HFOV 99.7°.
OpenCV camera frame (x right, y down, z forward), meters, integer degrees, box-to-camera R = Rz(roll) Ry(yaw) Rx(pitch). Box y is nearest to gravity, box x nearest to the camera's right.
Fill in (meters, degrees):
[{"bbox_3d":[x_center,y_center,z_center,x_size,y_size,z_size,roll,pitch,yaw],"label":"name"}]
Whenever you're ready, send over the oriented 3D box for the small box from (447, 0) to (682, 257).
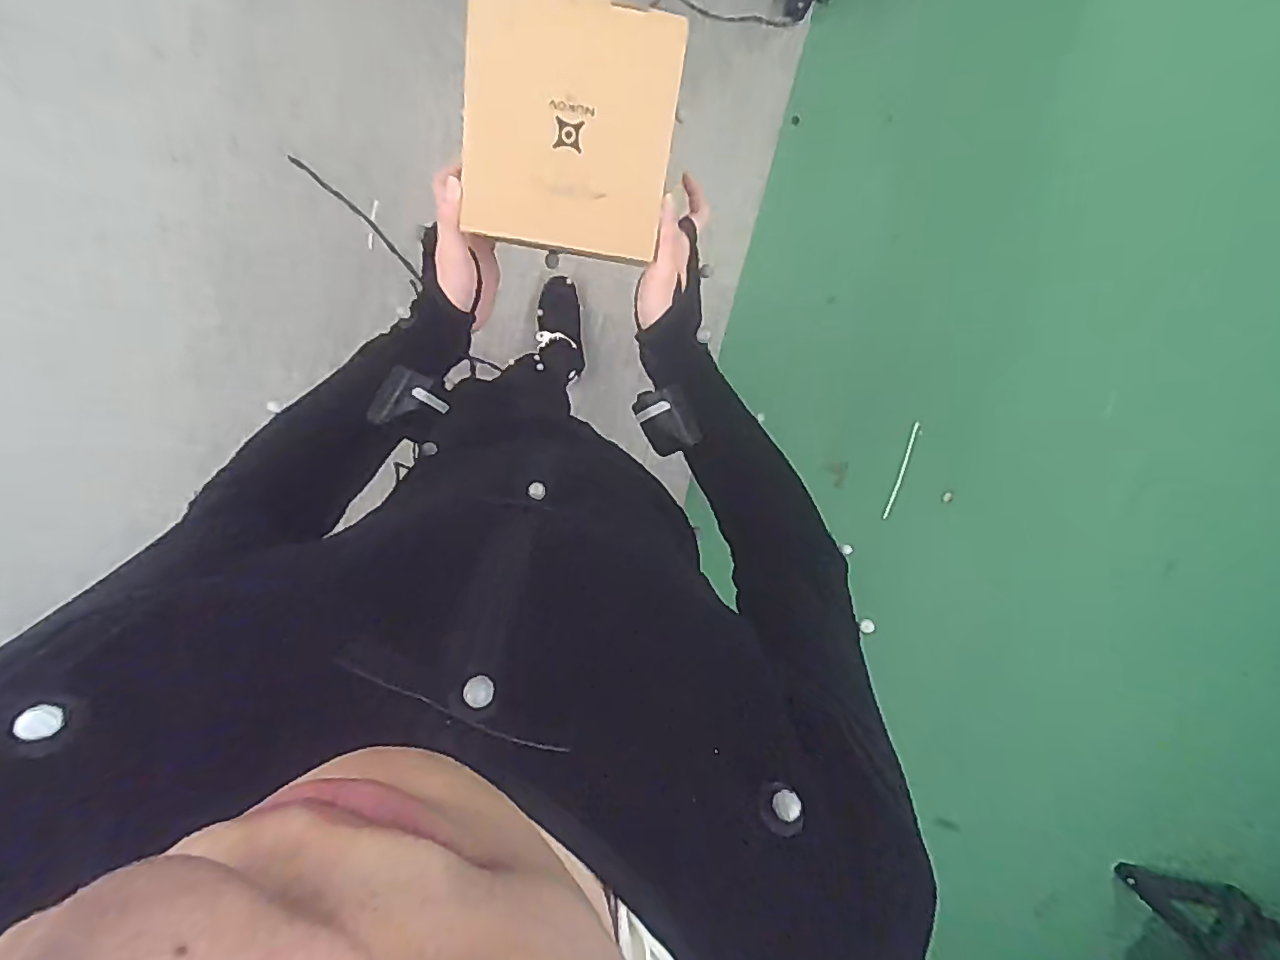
[{"bbox_3d":[-0.065,-0.309,0.488,0.168,0.176,0.179,8,110,-4],"label":"small box"}]
